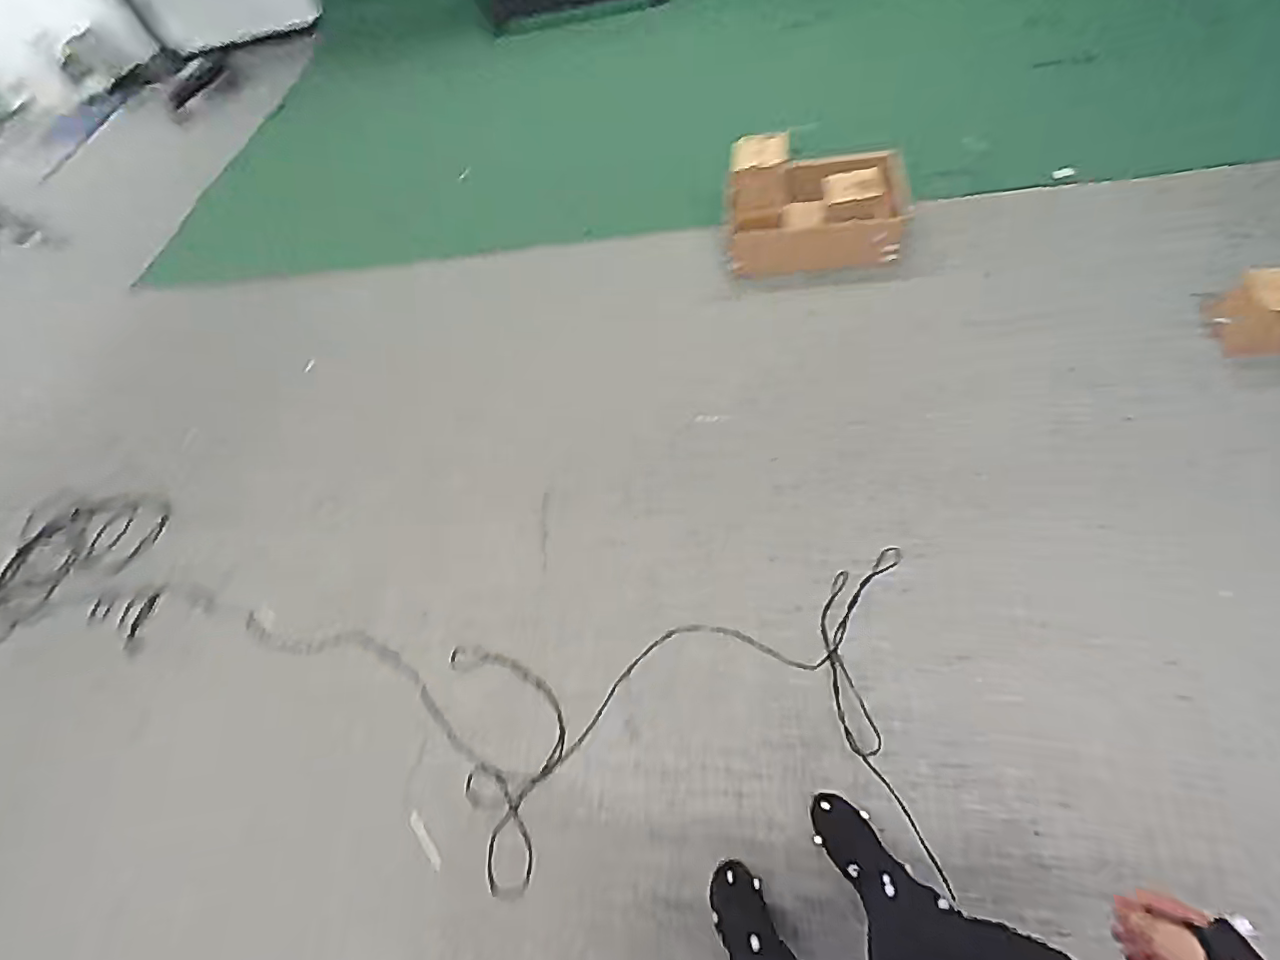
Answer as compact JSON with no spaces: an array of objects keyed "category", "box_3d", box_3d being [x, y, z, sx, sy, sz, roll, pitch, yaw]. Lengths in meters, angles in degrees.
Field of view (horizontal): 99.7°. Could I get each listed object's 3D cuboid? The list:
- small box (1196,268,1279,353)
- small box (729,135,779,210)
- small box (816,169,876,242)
[{"category":"small box","box_3d":[1.761,-0.478,1.535,0.179,0.176,0.168,2,60,13]},{"category":"small box","box_3d":[0.404,-1.076,1.907,0.168,0.176,0.179,1,61,12]},{"category":"small box","box_3d":[0.751,-1.003,1.986,0.179,0.176,0.168,-2,60,12]}]
